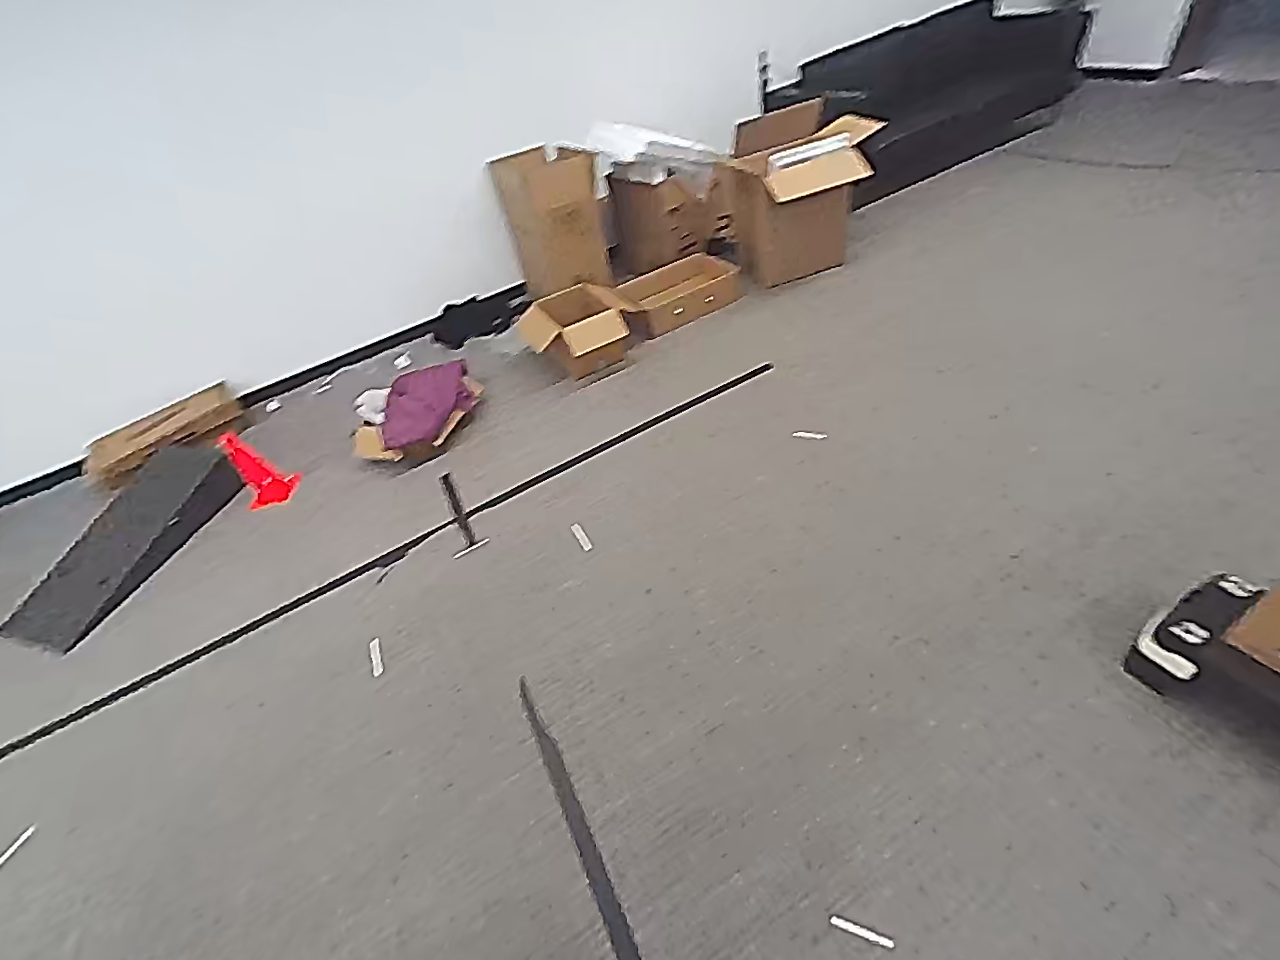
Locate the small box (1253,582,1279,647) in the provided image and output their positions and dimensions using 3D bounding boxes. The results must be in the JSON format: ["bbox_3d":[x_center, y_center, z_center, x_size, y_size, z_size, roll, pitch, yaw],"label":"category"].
[{"bbox_3d":[1.382,0.286,1.125,0.179,0.176,0.168,-29,44,-15],"label":"small box"}]

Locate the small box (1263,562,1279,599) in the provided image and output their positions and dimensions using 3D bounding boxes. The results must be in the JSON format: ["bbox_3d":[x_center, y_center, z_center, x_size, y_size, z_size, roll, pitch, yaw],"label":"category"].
[{"bbox_3d":[1.356,0.165,1.017,0.179,0.176,0.168,-30,45,-16],"label":"small box"}]
